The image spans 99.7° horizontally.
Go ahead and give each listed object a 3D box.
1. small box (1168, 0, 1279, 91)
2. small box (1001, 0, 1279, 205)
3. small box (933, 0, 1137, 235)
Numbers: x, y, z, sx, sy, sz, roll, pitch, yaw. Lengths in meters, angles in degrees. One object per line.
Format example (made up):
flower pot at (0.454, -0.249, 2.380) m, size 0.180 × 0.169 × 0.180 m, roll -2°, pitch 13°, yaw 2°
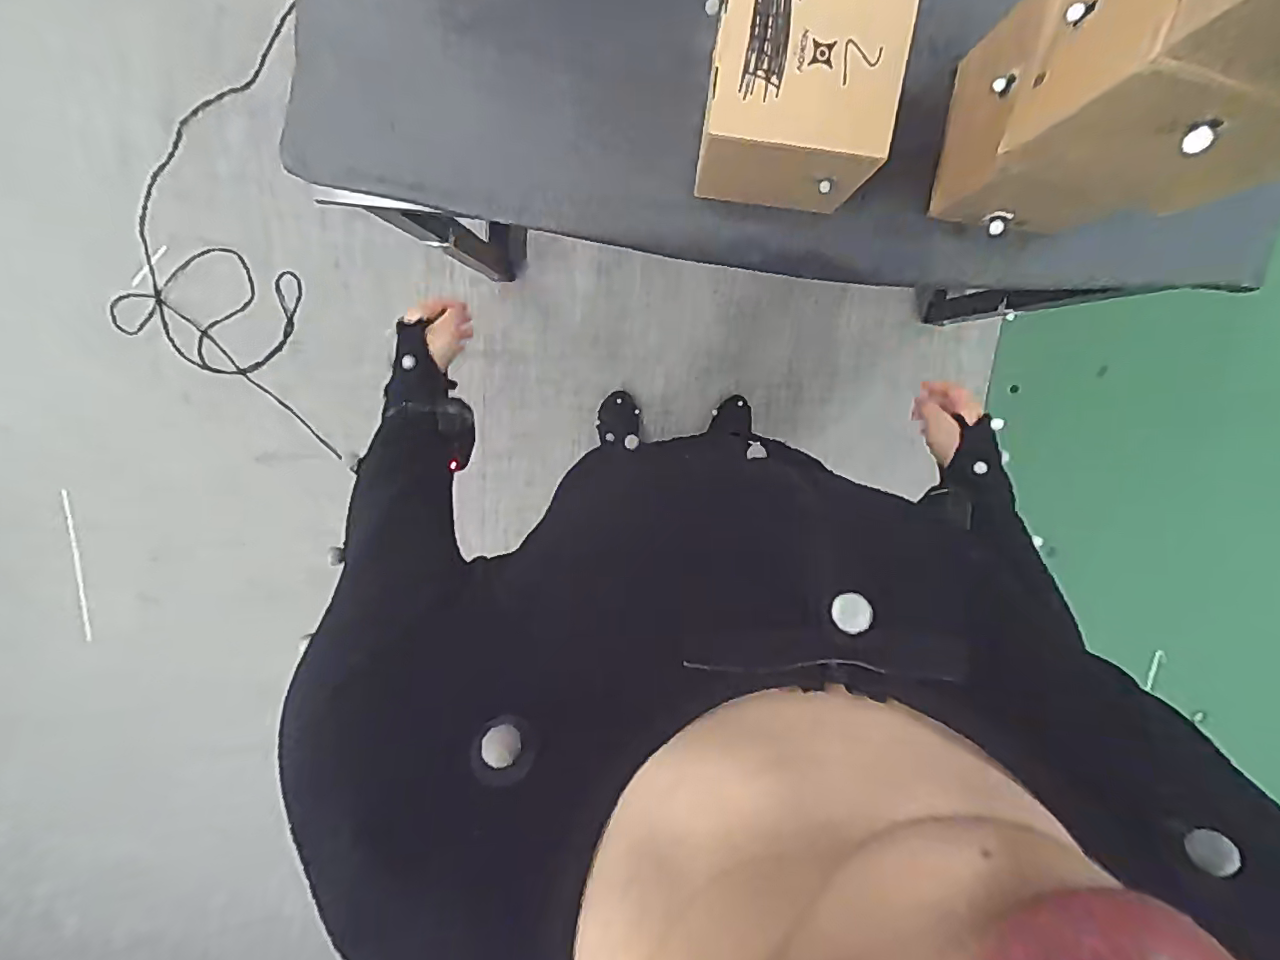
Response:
small box at (0.439, -0.311, 0.258) m, size 0.179 × 0.176 × 0.168 m, roll 19°, pitch 100°, yaw -1°
small box at (0.440, -0.339, 0.421) m, size 0.179 × 0.176 × 0.168 m, roll 17°, pitch 100°, yaw -1°
small box at (0.445, -0.384, 0.577) m, size 0.168 × 0.176 × 0.179 m, roll 7°, pitch 101°, yaw 1°
